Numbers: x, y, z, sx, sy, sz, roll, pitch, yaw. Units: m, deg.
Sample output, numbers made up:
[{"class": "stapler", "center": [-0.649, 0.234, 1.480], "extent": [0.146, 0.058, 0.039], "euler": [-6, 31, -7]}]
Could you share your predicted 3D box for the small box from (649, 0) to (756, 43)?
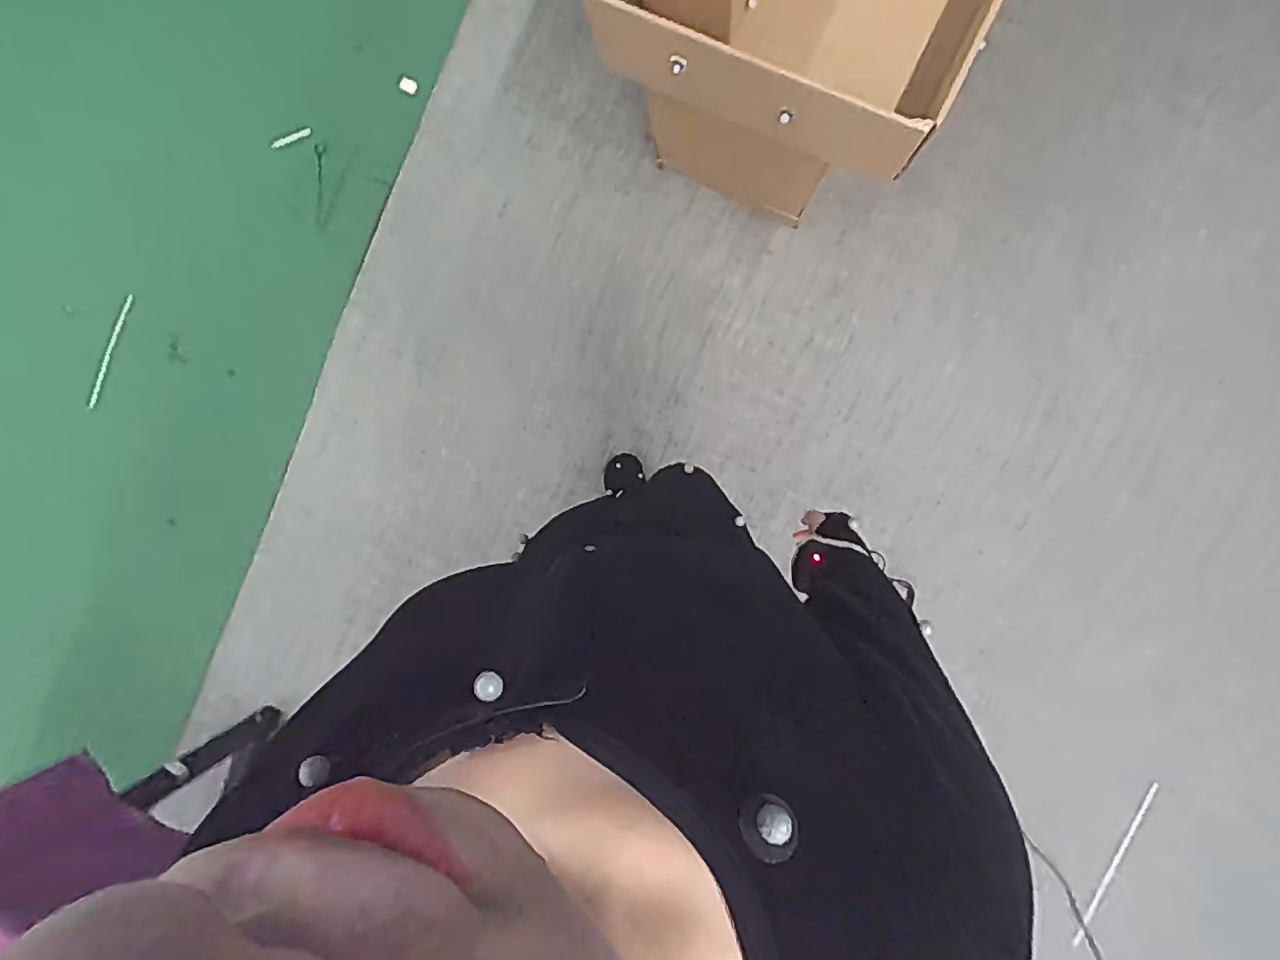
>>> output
[{"class": "small box", "center": [0.114, -0.876, 0.886], "extent": [0.179, 0.176, 0.168], "euler": [27, 96, 5]}]
